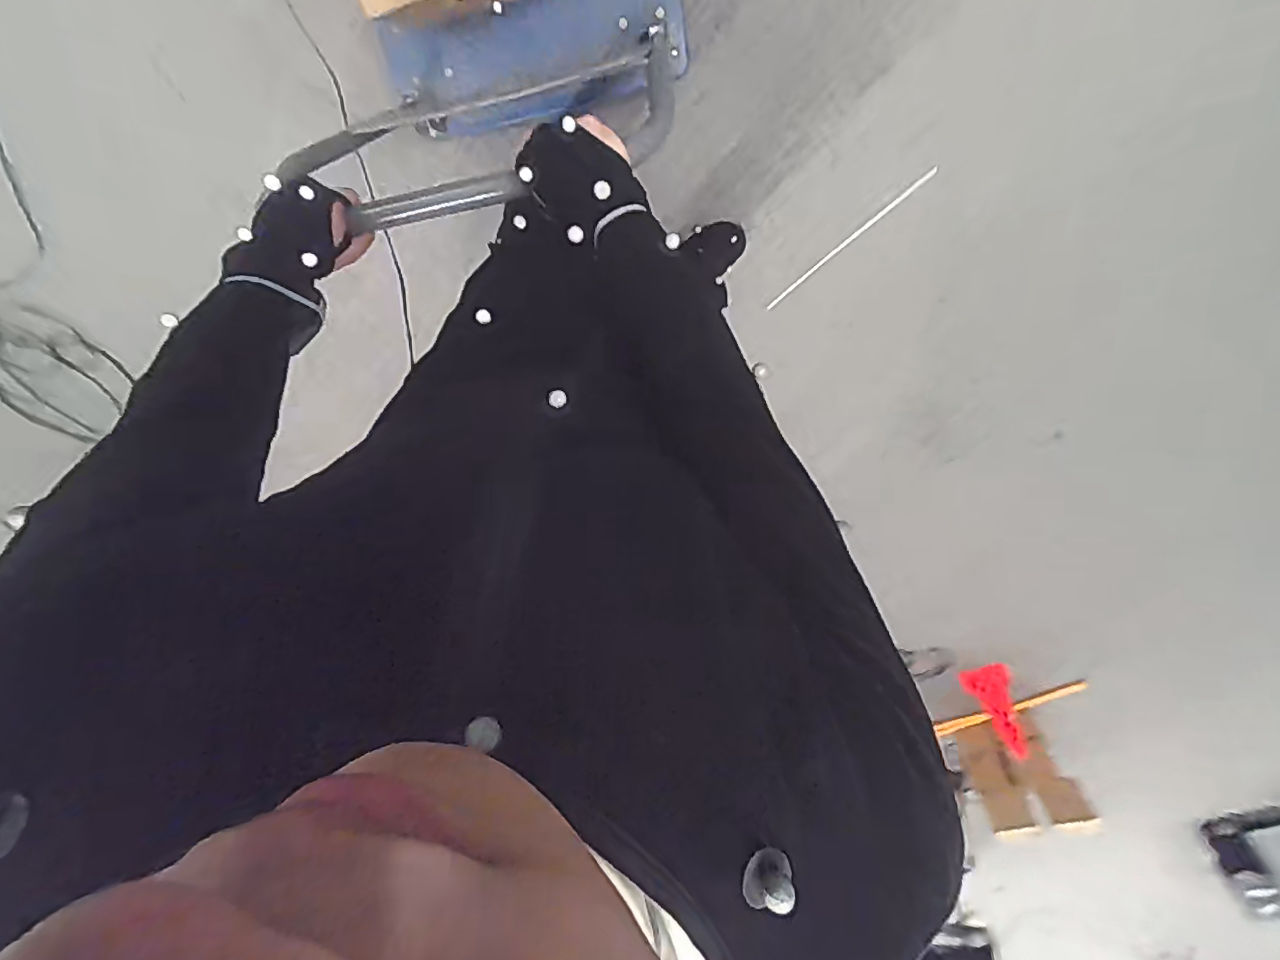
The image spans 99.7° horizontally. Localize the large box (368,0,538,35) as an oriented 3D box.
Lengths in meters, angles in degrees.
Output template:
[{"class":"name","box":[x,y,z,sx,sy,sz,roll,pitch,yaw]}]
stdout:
[{"class":"large box","box":[-0.273,-0.925,0.759,0.320,0.320,0.408,-9,127,12]}]
